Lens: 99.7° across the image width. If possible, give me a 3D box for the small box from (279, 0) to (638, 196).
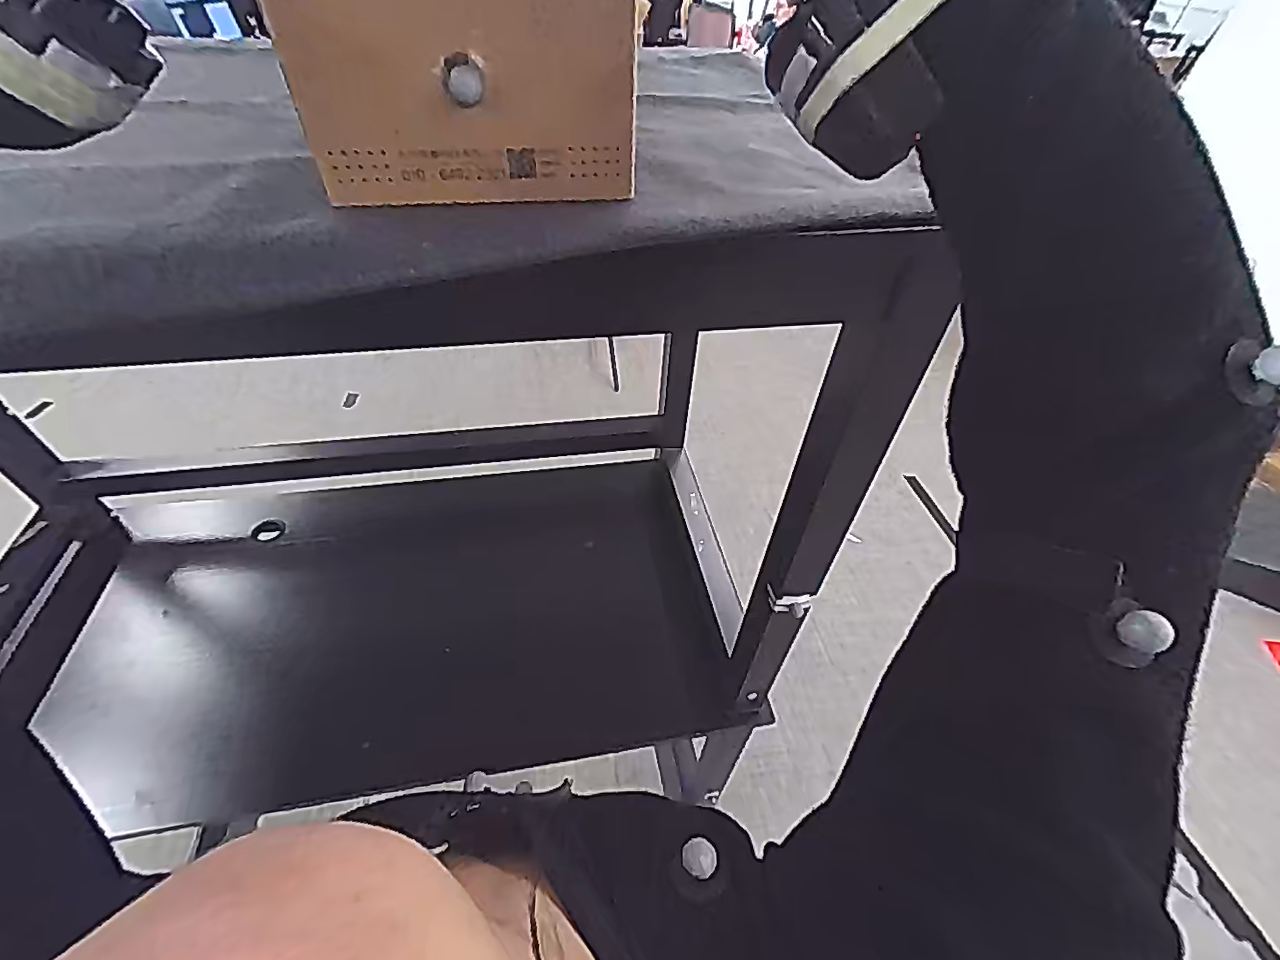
[{"bbox_3d":[-0.094,-0.274,0.299,0.168,0.176,0.179,-6,46,-7],"label":"small box"}]
